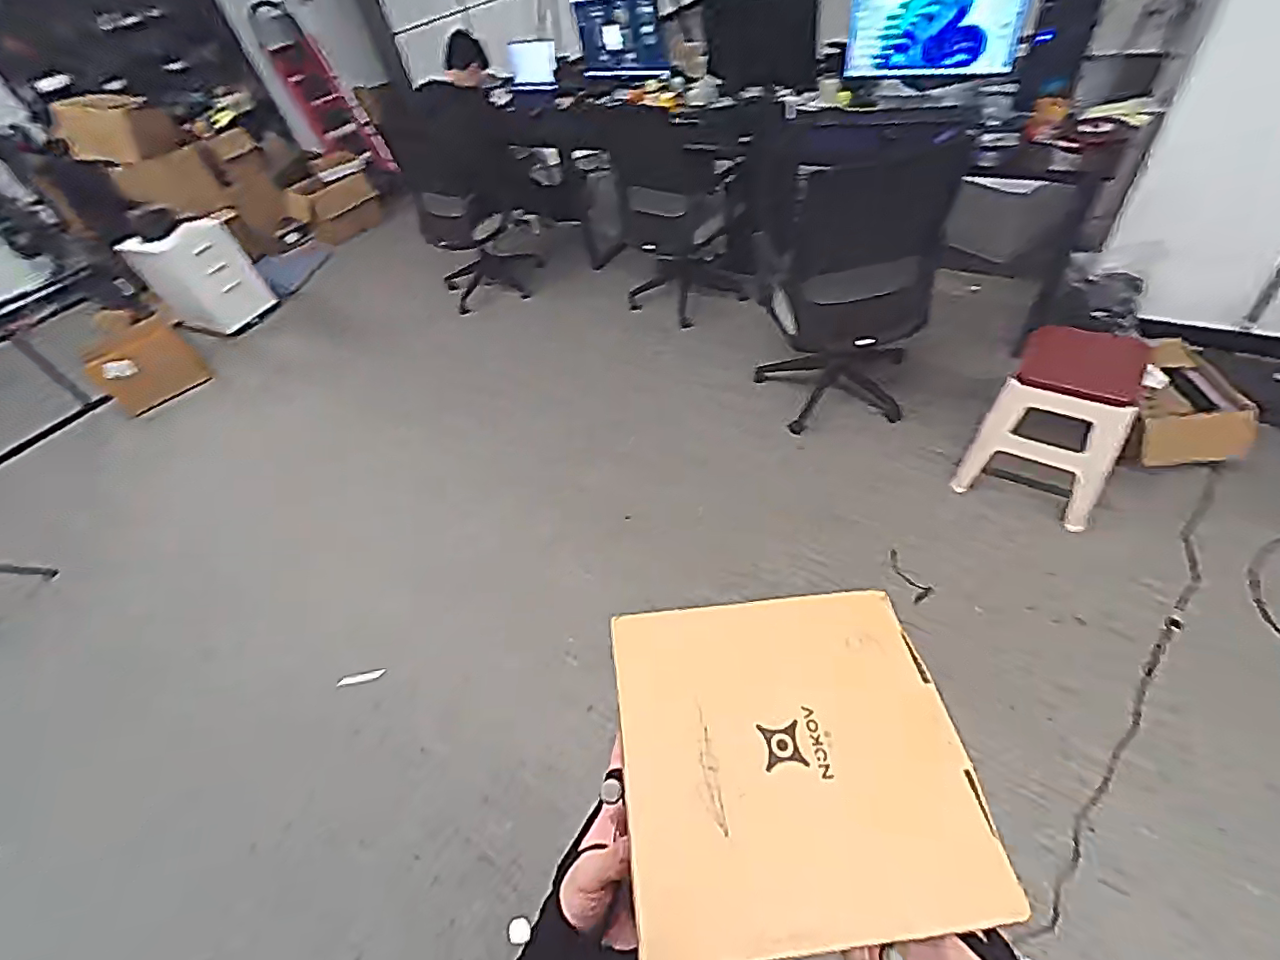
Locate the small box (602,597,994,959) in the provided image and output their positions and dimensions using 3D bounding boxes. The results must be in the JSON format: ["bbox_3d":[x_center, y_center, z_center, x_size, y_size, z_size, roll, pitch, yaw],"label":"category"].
[{"bbox_3d":[0.071,0.197,0.354,0.179,0.176,0.168,-6,49,-4],"label":"small box"}]
